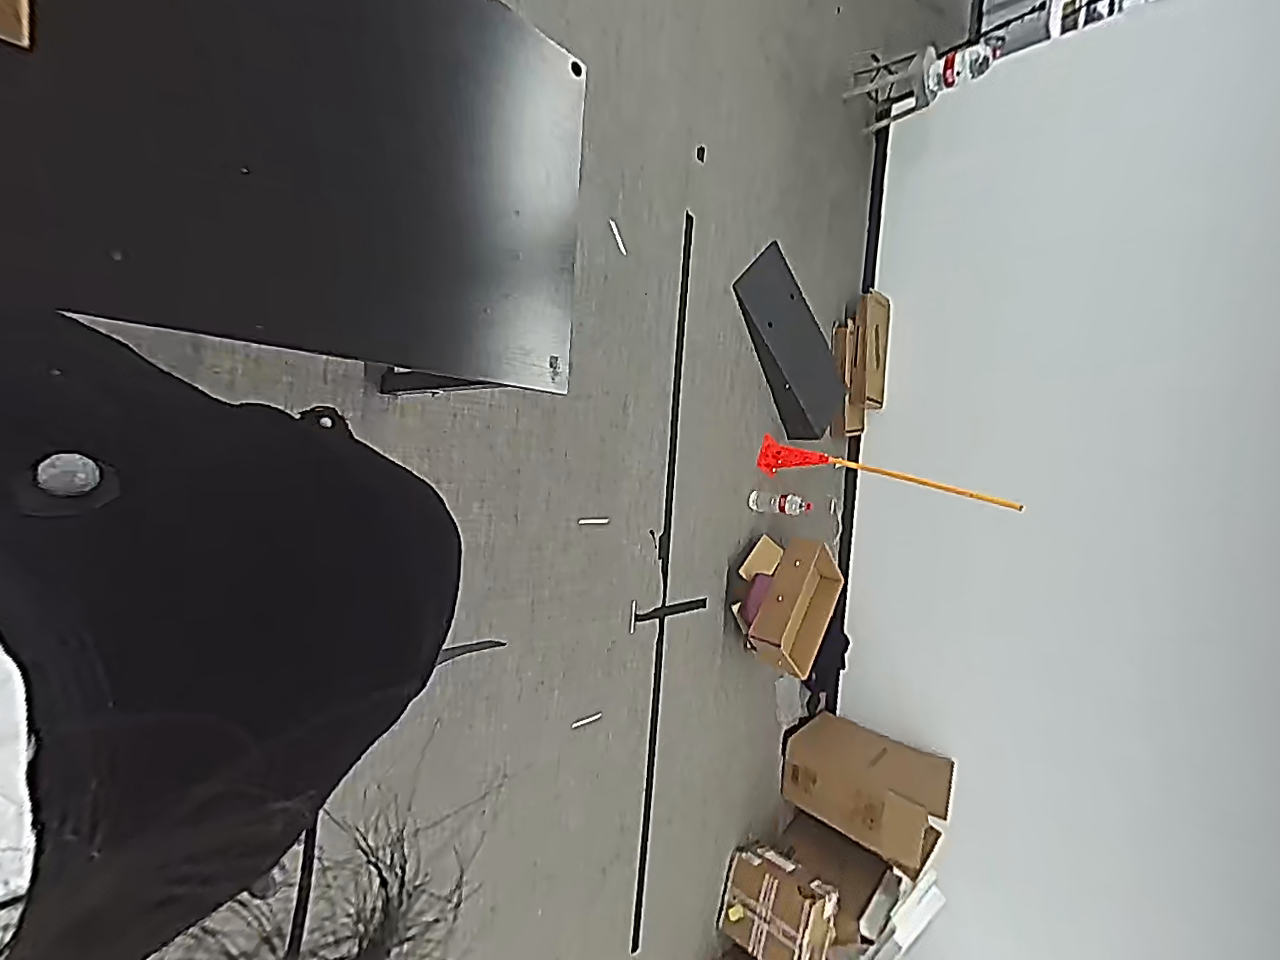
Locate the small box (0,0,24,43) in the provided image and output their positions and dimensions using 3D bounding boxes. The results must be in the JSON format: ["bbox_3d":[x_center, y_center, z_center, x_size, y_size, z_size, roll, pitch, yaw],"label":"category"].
[{"bbox_3d":[-0.579,-0.488,0.397,0.168,0.176,0.179,0,95,-47],"label":"small box"}]
